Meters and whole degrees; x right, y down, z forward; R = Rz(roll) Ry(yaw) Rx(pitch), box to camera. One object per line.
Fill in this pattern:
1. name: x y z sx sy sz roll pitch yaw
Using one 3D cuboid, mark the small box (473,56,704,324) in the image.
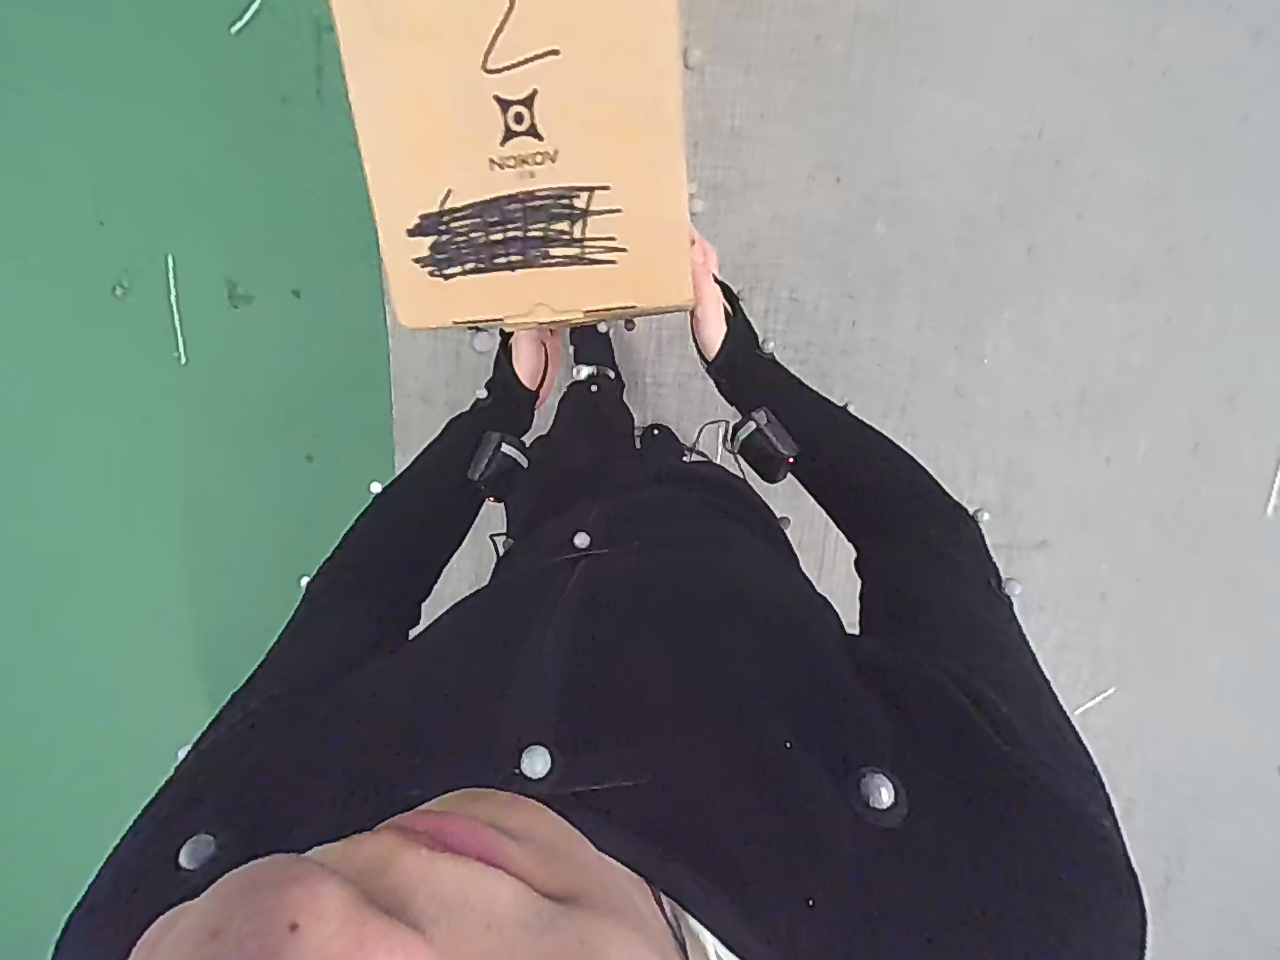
1. small box: -0.033 -0.244 0.502 0.168 0.176 0.179 -6 107 6
